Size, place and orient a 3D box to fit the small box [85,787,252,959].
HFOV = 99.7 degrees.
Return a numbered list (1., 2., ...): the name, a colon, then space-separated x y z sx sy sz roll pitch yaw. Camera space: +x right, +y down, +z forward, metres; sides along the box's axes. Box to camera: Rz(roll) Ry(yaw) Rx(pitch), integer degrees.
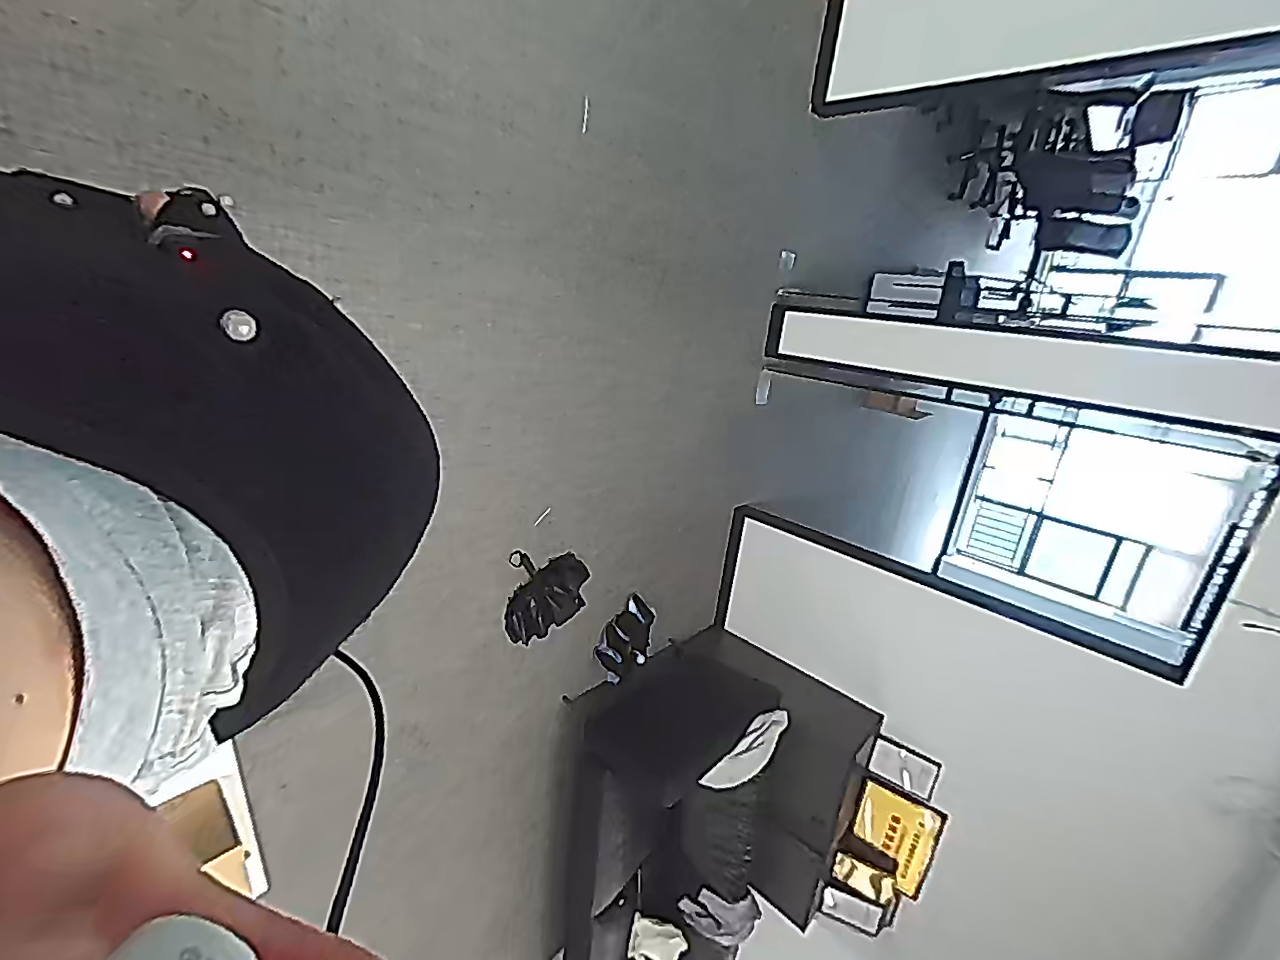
1. small box: -0.749 0.644 0.864 0.168 0.176 0.179 -16 120 -45
